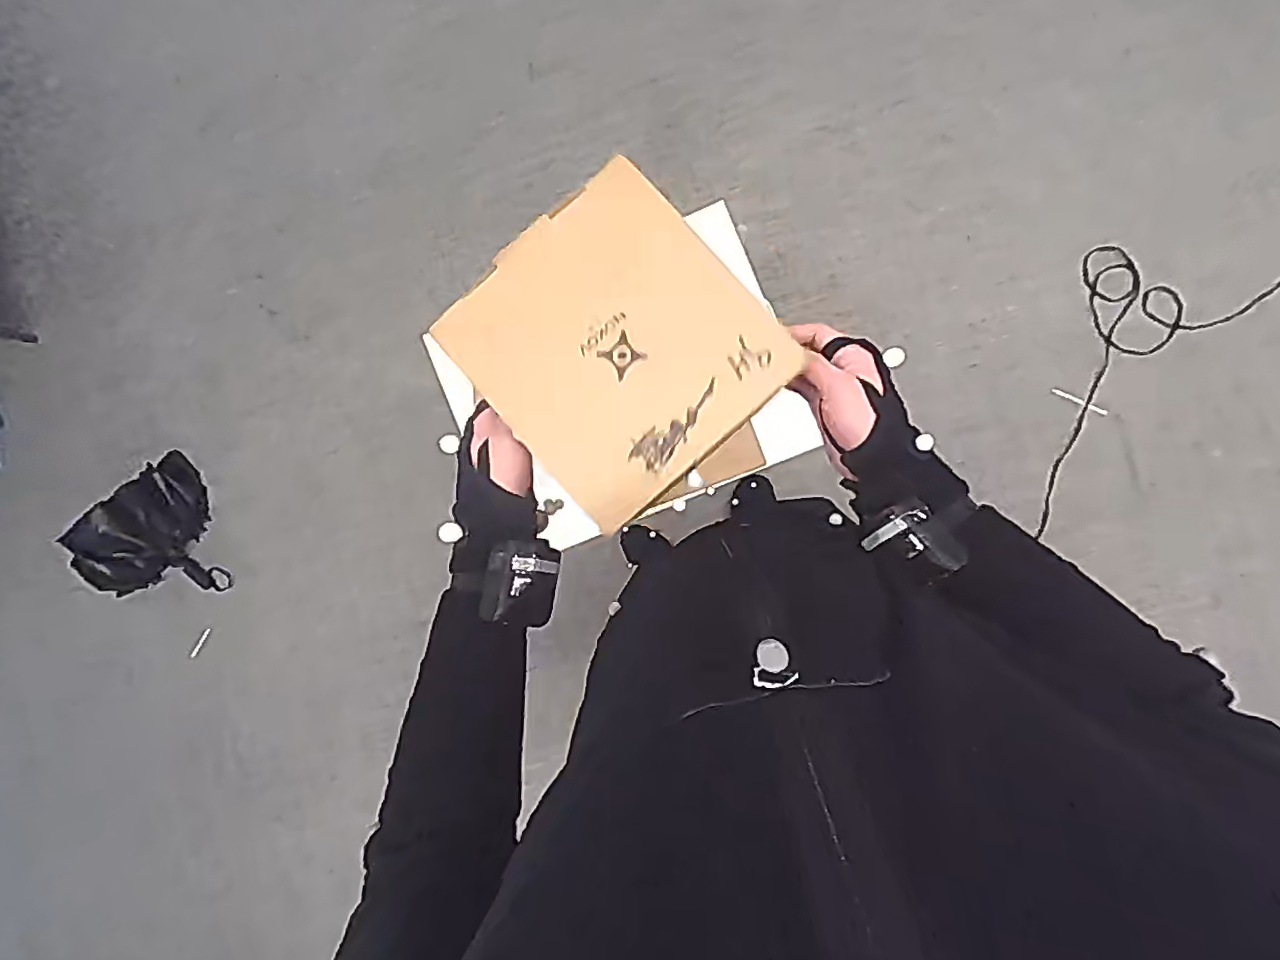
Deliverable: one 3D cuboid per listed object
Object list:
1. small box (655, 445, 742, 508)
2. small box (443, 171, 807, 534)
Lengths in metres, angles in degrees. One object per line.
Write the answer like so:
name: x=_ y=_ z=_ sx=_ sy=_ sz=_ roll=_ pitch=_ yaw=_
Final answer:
small box: x=0.028 y=-0.059 z=0.743 sx=0.168 sy=0.176 sz=0.179 roll=-21 pitch=87 yaw=3
small box: x=-0.007 y=-0.078 z=0.417 sx=0.168 sy=0.176 sz=0.179 roll=-40 pitch=87 yaw=3
